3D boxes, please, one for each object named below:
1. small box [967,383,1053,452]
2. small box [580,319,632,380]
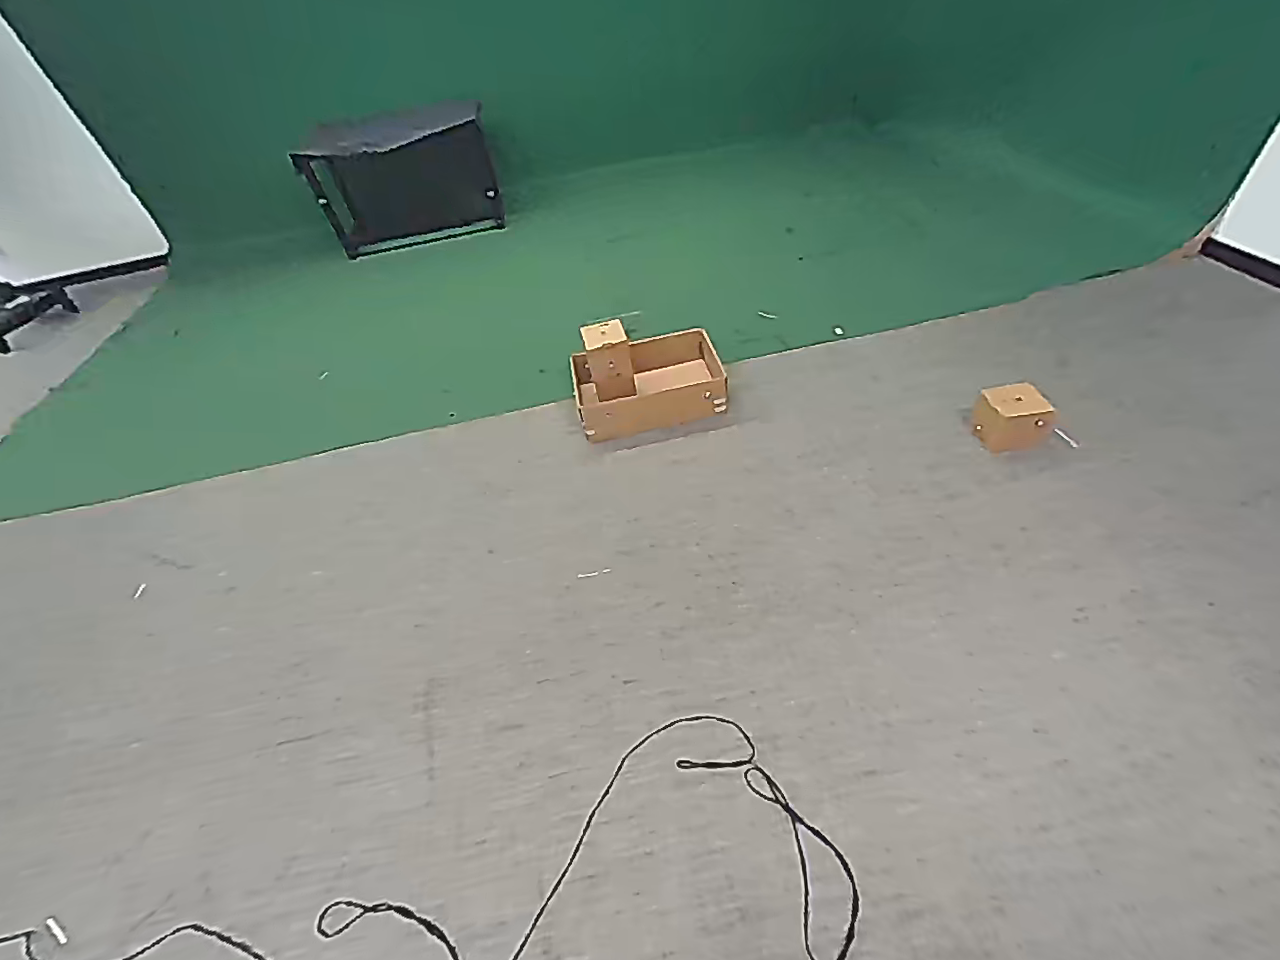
[{"bbox_3d":[1.321,-0.223,1.945,0.179,0.176,0.168,-9,45,2],"label":"small box"},{"bbox_3d":[-0.135,-0.522,2.194,0.168,0.176,0.179,-15,47,-4],"label":"small box"}]
